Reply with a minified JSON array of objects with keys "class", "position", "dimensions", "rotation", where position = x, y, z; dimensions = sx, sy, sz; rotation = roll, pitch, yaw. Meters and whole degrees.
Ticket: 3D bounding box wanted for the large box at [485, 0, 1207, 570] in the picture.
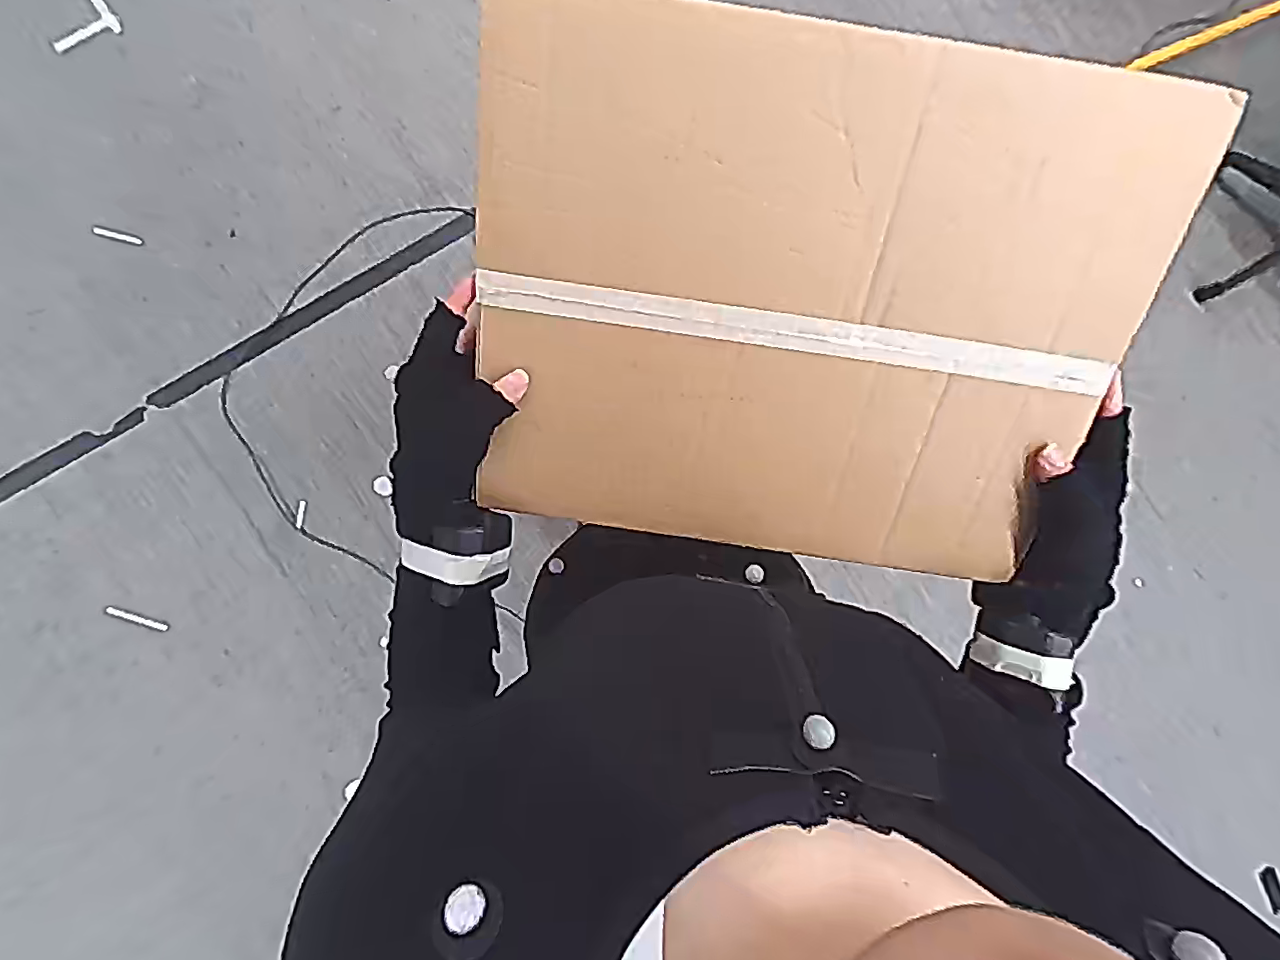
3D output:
[{"class":"large box","position":[0.102,-0.153,0.489],"dimensions":[0.408,0.320,0.320],"rotation":[9,115,-1]}]
